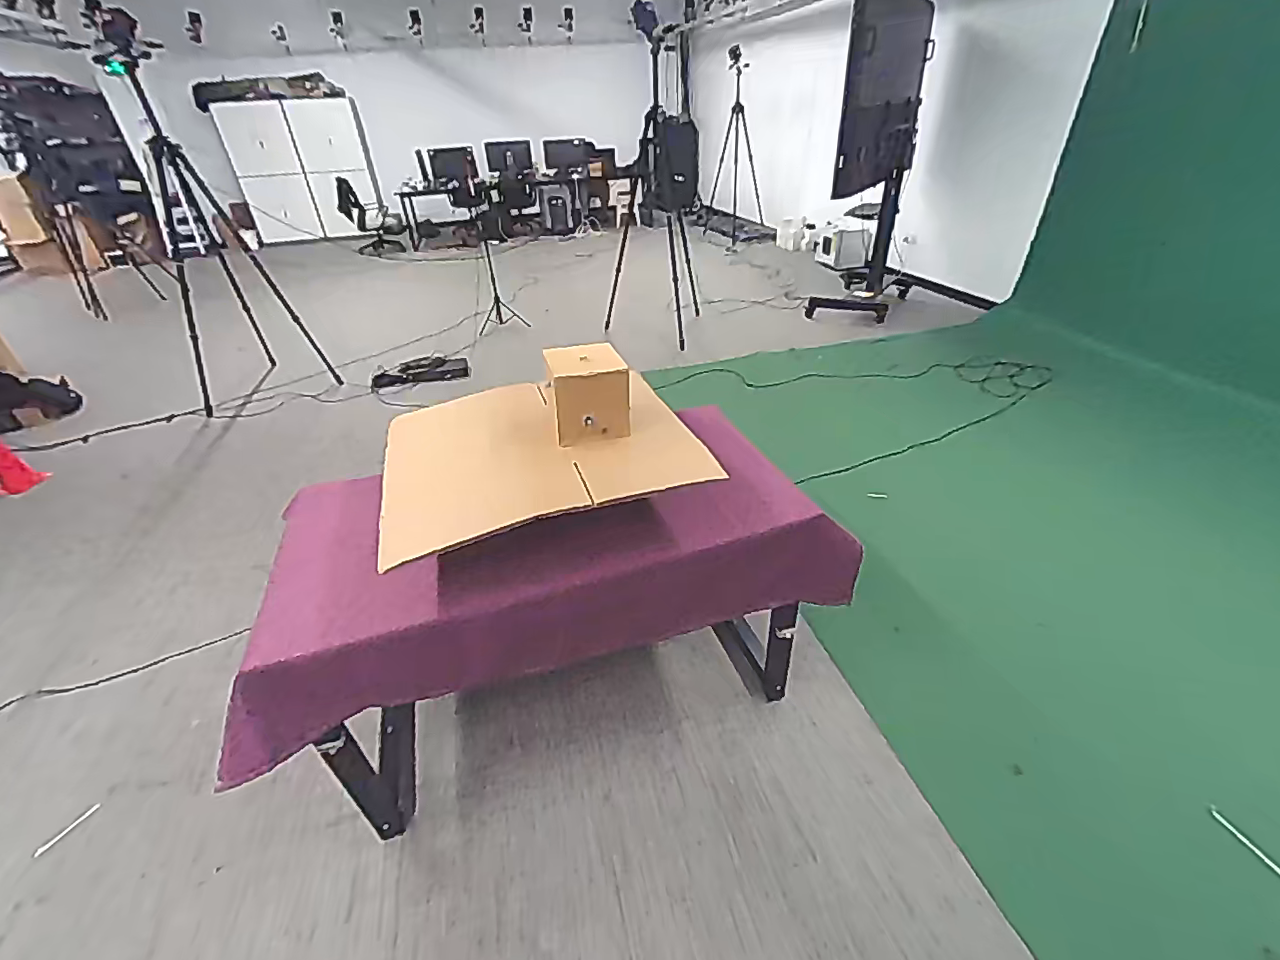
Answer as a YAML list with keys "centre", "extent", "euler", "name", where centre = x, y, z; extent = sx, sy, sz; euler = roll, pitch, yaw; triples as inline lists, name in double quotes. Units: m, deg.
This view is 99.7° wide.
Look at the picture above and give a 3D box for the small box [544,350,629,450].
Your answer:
- centre: [-0.126, -0.188, 1.263]
  extent: [0.168, 0.176, 0.179]
  euler: [-10, 35, -14]
  name: "small box"
